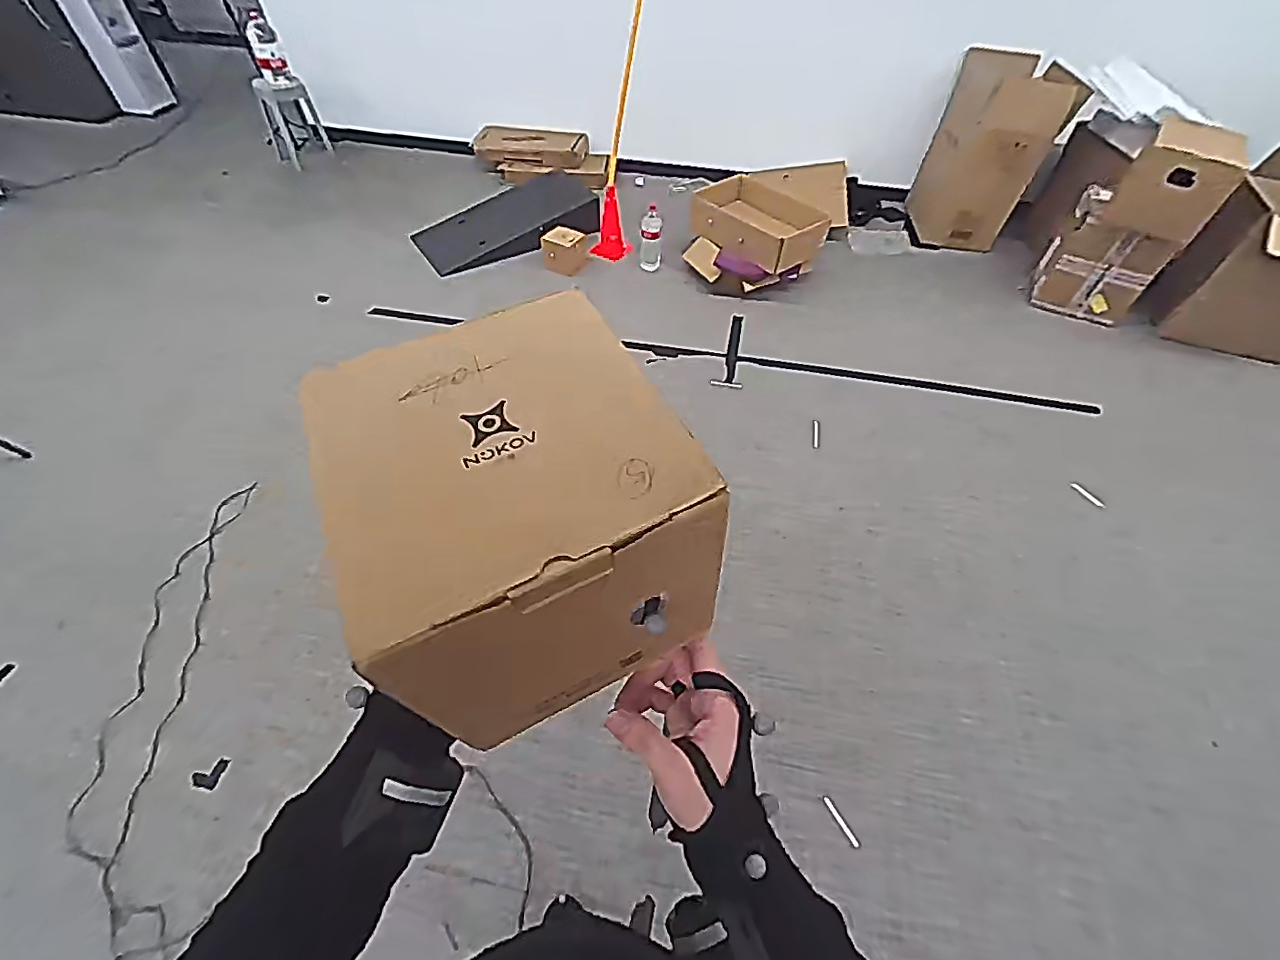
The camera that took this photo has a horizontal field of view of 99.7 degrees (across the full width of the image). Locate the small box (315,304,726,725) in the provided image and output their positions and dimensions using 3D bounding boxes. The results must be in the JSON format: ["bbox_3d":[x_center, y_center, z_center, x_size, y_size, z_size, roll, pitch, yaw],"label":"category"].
[{"bbox_3d":[-0.065,0.029,0.337,0.168,0.176,0.179,-24,56,-15],"label":"small box"}]
